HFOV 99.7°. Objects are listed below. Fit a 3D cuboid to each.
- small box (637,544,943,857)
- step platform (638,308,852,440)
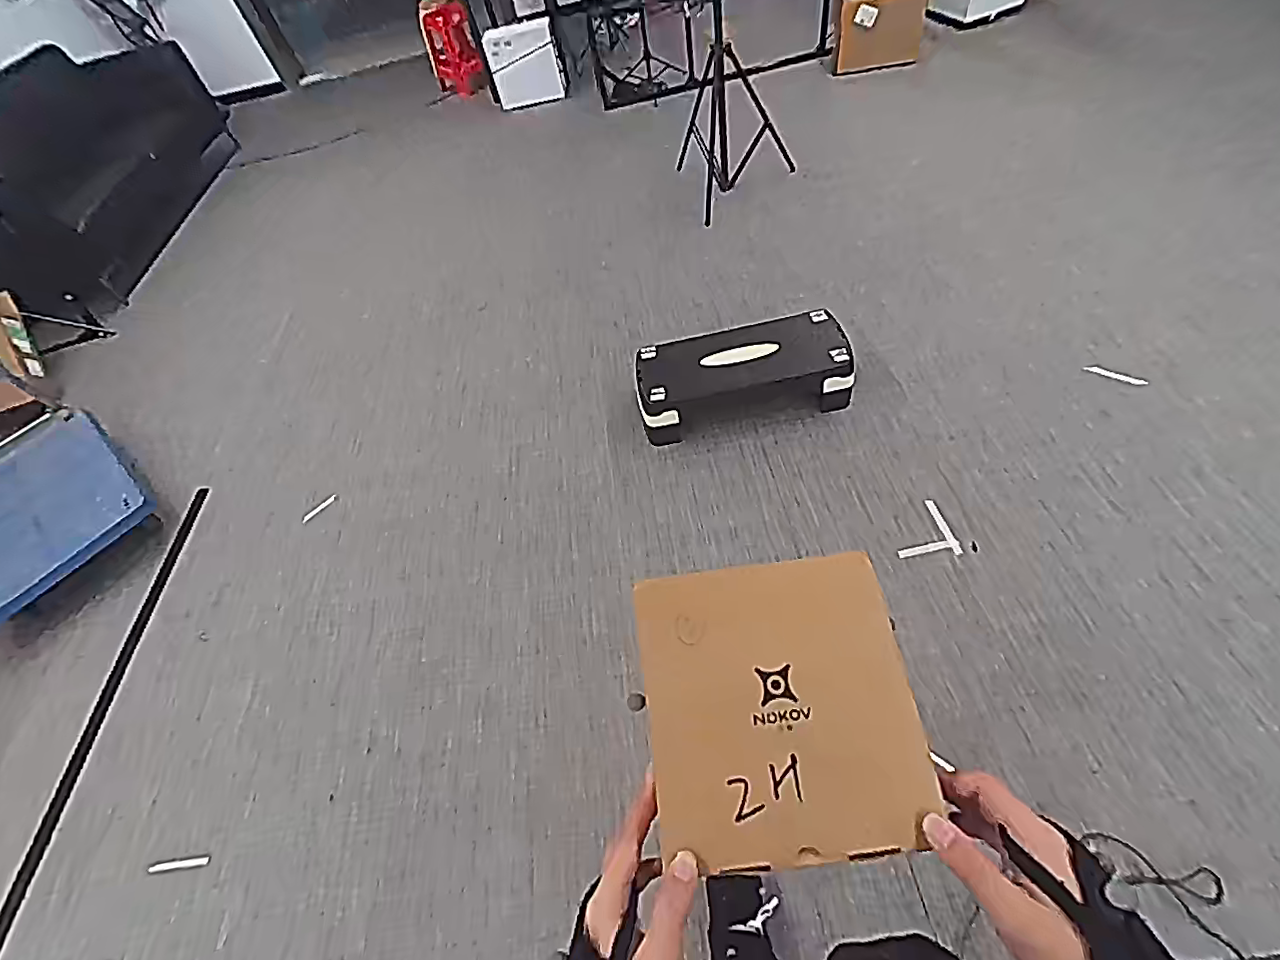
[{"bbox_3d":[0.090,0.166,0.417,0.168,0.176,0.179,-7,64,2],"label":"small box"},{"bbox_3d":[0.333,-0.354,1.797,0.684,0.204,0.286,-12,52,4],"label":"step platform"}]
